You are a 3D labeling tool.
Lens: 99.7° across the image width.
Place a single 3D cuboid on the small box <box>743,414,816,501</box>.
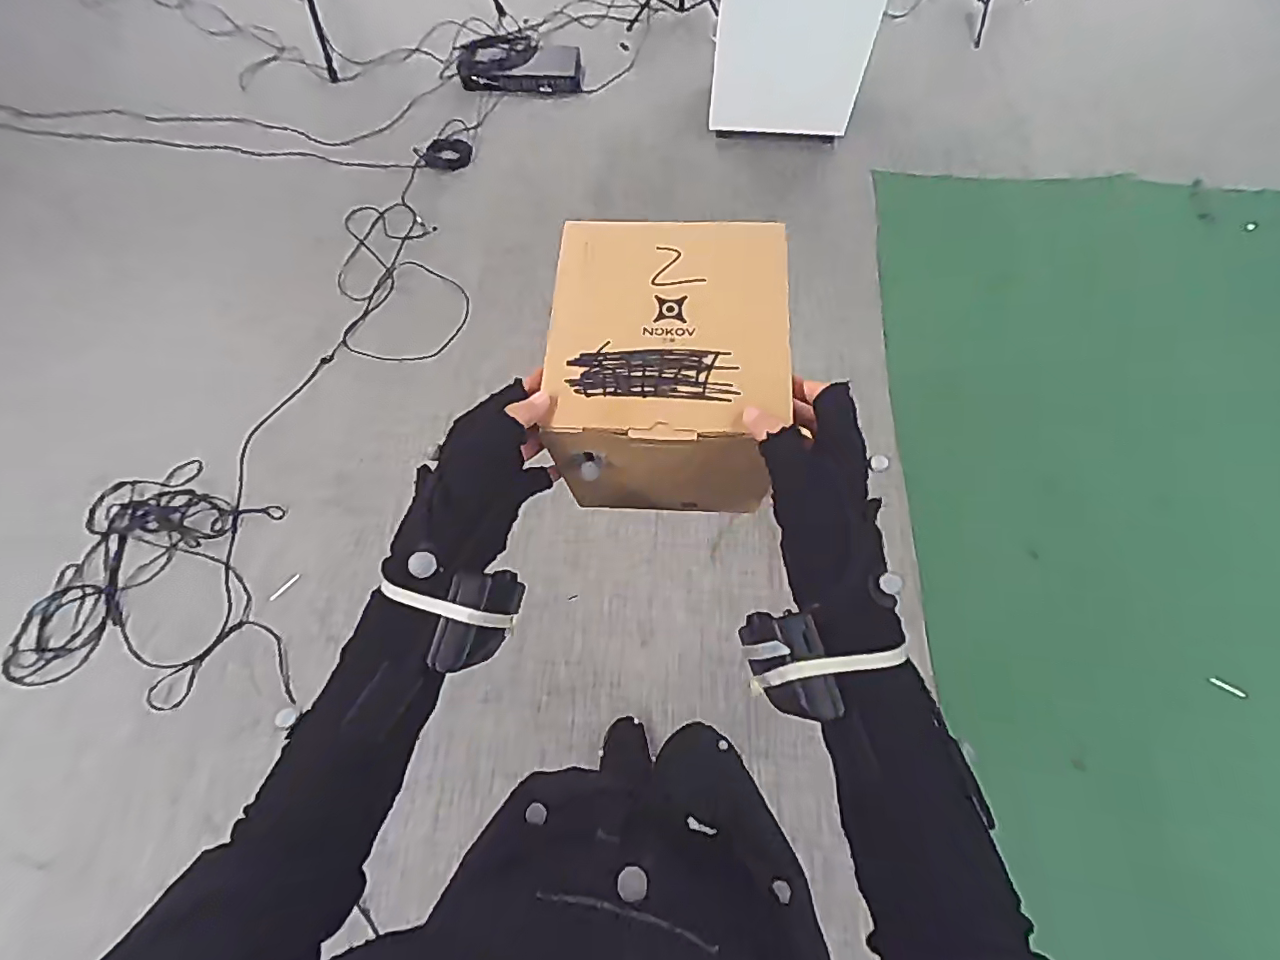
[{"bbox_3d":[0.376,-0.059,1.481,0.168,0.176,0.179,4,67,4],"label":"small box"}]
